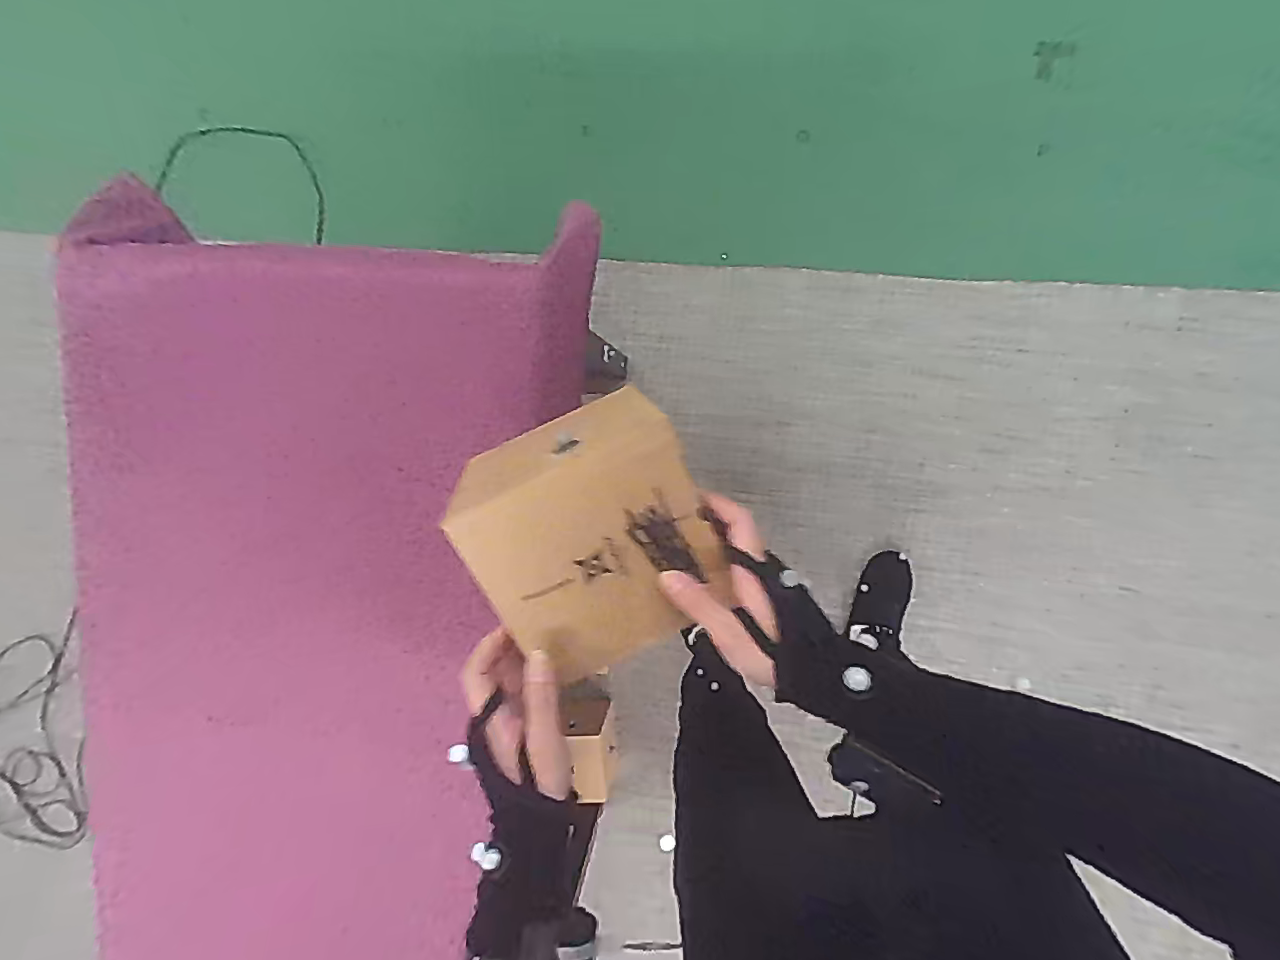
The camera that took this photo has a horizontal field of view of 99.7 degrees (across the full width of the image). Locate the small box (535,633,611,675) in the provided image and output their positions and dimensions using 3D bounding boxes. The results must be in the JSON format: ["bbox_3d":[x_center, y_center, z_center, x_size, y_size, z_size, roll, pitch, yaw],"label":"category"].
[{"bbox_3d":[-0.145,0.342,1.282,0.168,0.176,0.179,-2,96,8],"label":"small box"}]

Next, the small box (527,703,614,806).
[{"bbox_3d":[-0.160,0.658,1.313,0.179,0.176,0.168,-4,95,8],"label":"small box"}]

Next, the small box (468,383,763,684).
[{"bbox_3d":[-0.024,0.029,0.468,0.179,0.176,0.168,-25,110,-1],"label":"small box"}]
